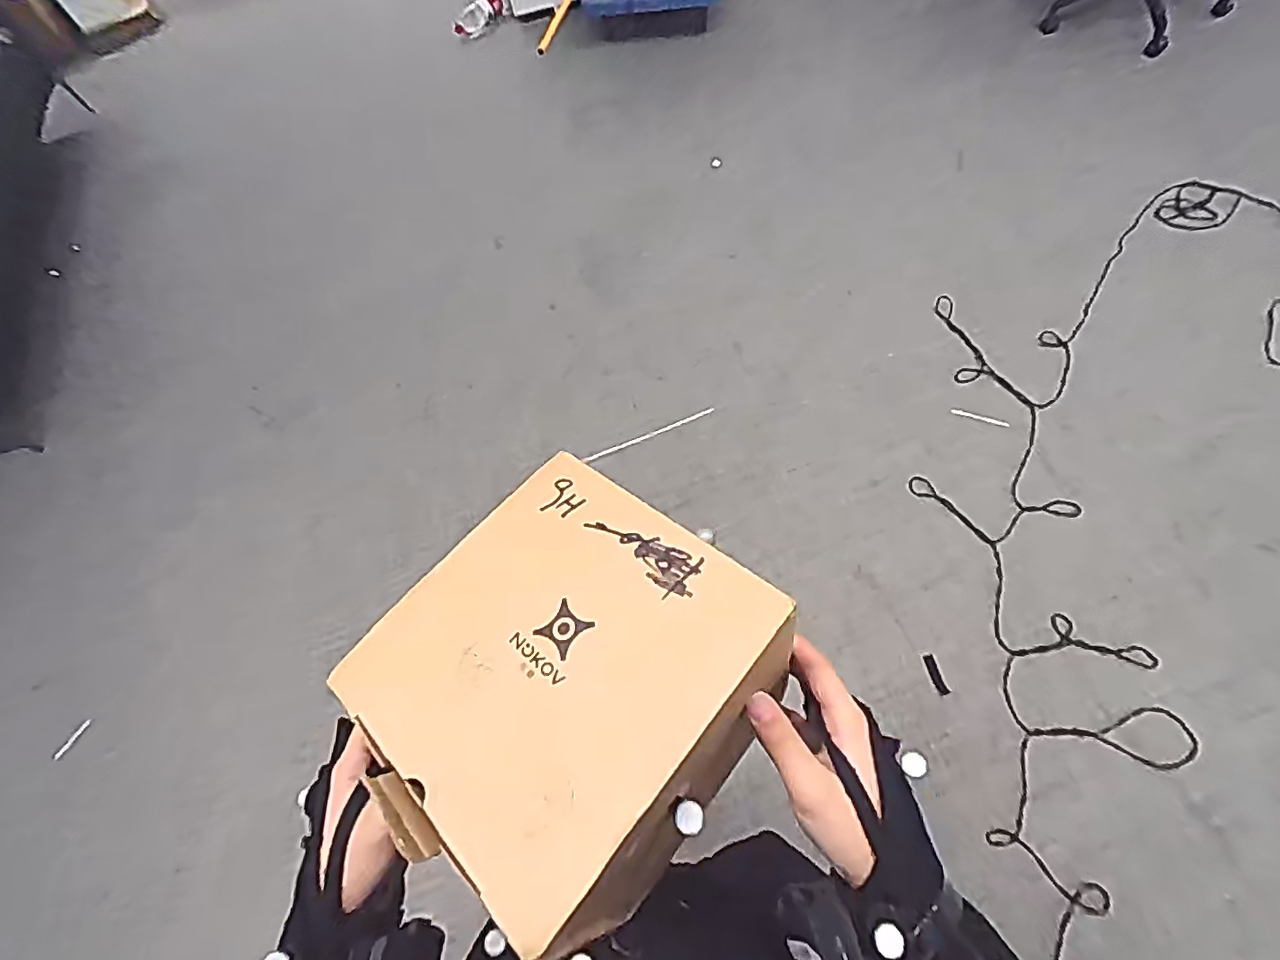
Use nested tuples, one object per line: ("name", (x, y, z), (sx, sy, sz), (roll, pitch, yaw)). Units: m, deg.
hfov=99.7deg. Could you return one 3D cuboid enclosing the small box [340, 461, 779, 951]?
("small box", (-0.029, 0.128, 0.334), (0.168, 0.176, 0.179), (32, 68, 29))
